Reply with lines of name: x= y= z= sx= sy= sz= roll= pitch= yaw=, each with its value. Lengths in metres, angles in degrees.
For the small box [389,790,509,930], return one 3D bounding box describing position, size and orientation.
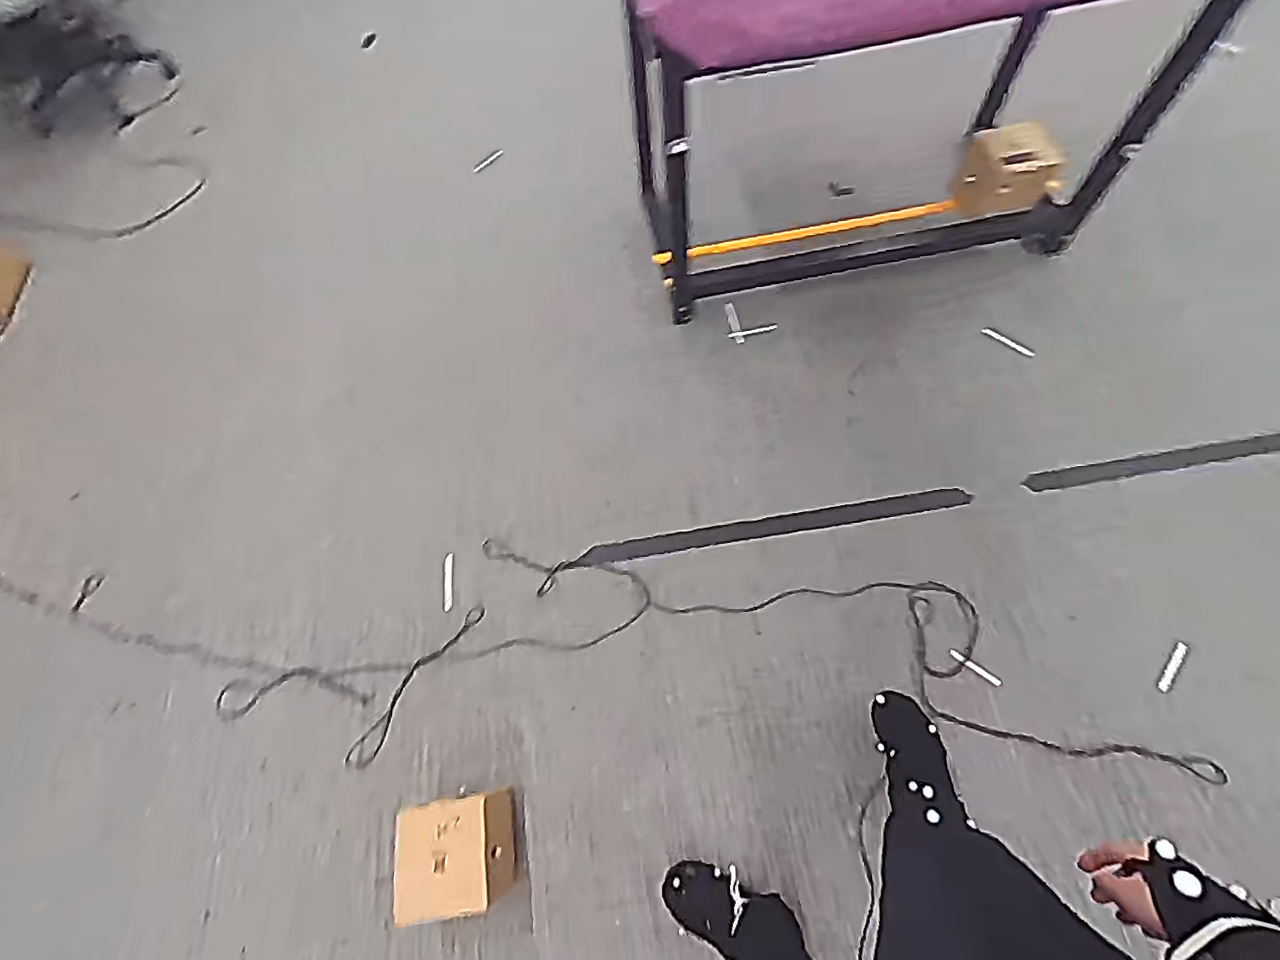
small box: x=-0.353 y=0.707 z=1.024 sx=0.168 sy=0.176 sz=0.179 roll=-10 pitch=65 yaw=0
